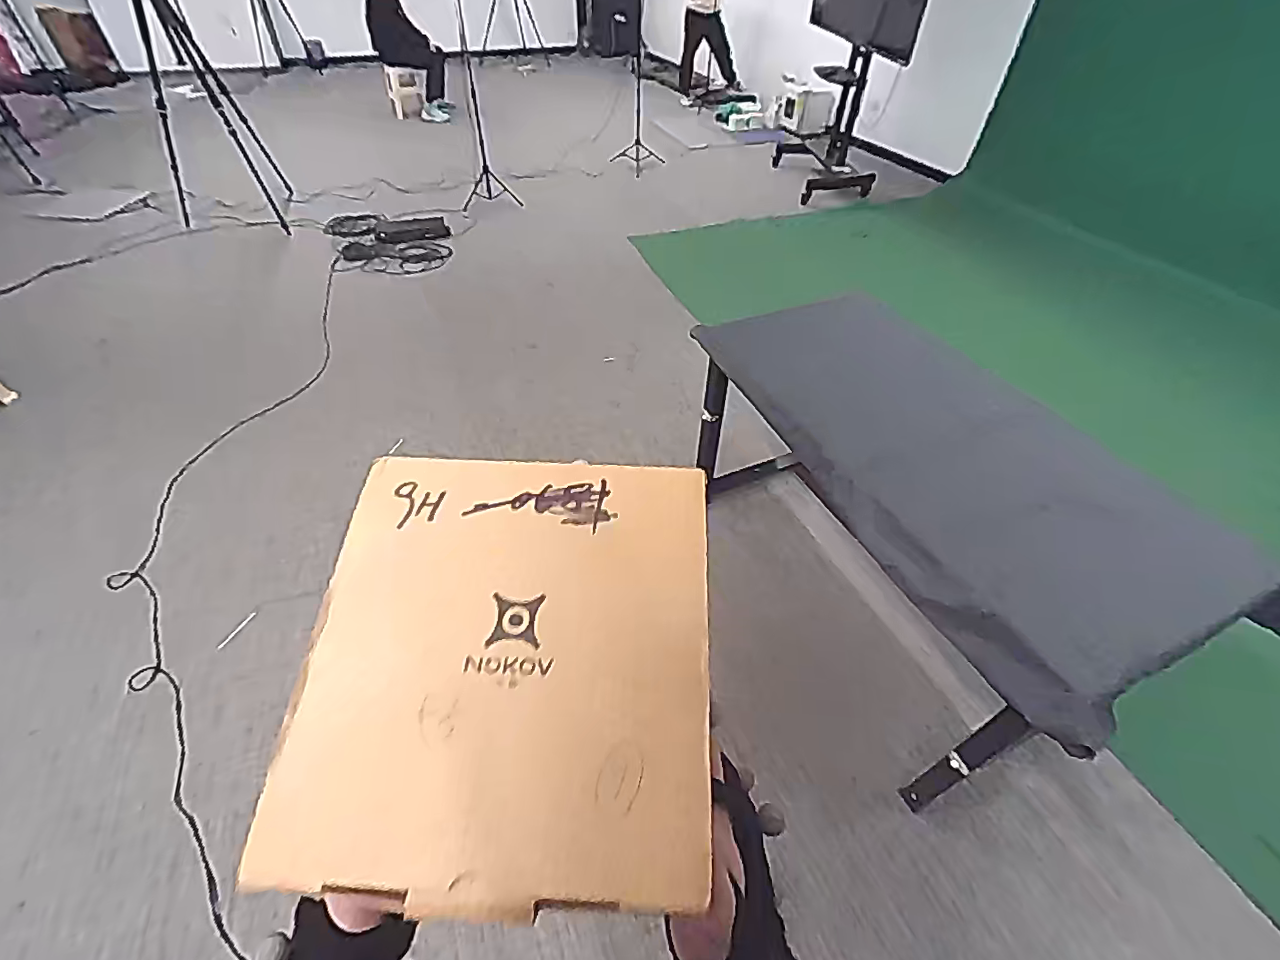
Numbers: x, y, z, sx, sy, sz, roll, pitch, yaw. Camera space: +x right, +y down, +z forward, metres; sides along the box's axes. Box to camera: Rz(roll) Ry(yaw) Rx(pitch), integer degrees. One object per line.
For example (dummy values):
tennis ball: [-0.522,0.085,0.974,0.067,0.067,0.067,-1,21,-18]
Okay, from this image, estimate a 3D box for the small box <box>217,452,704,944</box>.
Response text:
small box: [-0.057,0.104,0.286,0.168,0.176,0.179,3,63,0]
